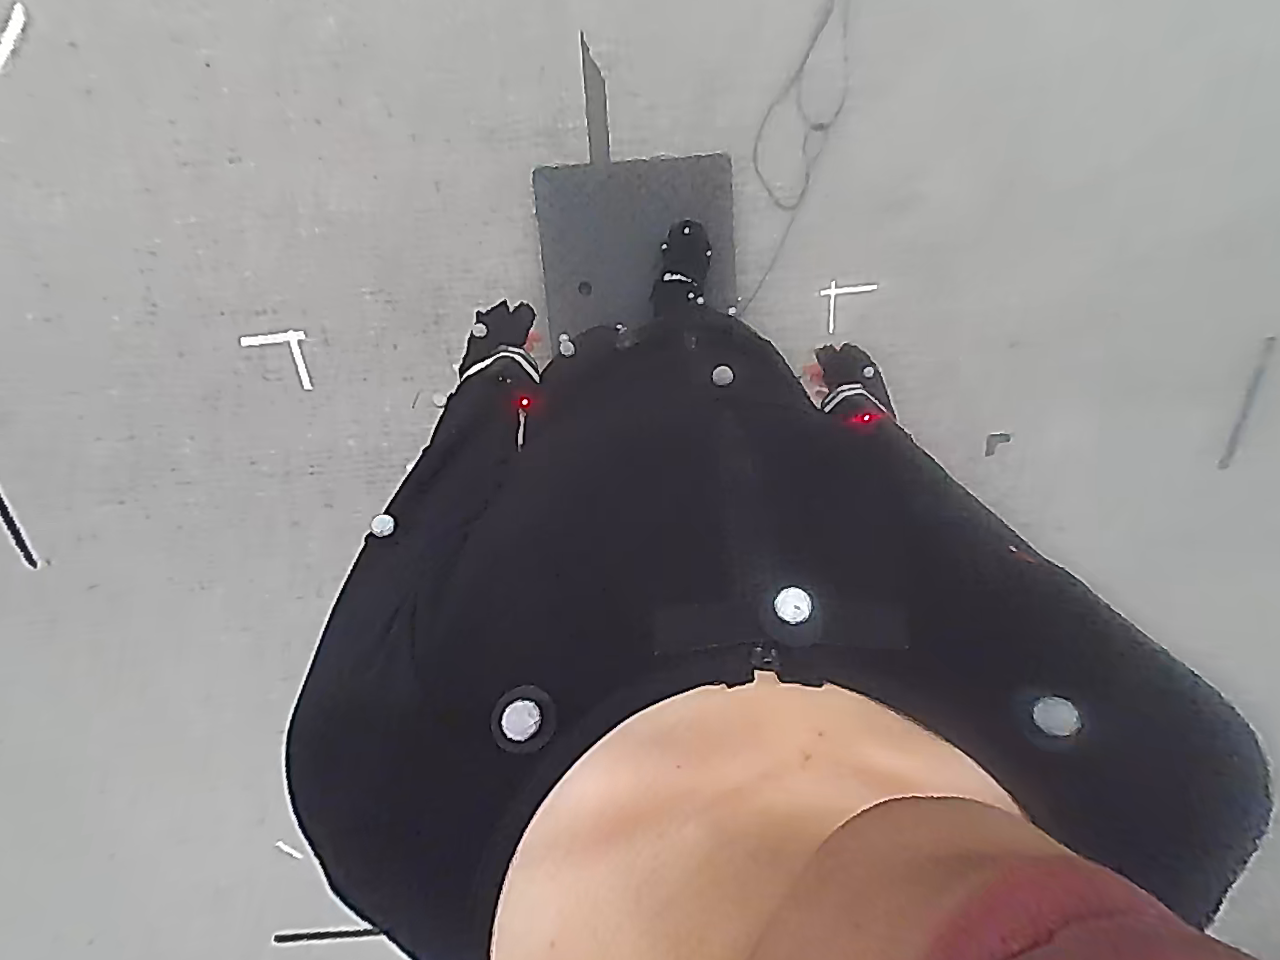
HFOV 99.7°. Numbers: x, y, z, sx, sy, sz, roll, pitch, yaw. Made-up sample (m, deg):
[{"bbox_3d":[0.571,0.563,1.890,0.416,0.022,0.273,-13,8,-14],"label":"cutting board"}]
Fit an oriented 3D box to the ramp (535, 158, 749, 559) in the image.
[{"bbox_3d":[0.017,-0.288,1.425,0.509,0.206,0.991,-6,110,2],"label":"ramp"}]
